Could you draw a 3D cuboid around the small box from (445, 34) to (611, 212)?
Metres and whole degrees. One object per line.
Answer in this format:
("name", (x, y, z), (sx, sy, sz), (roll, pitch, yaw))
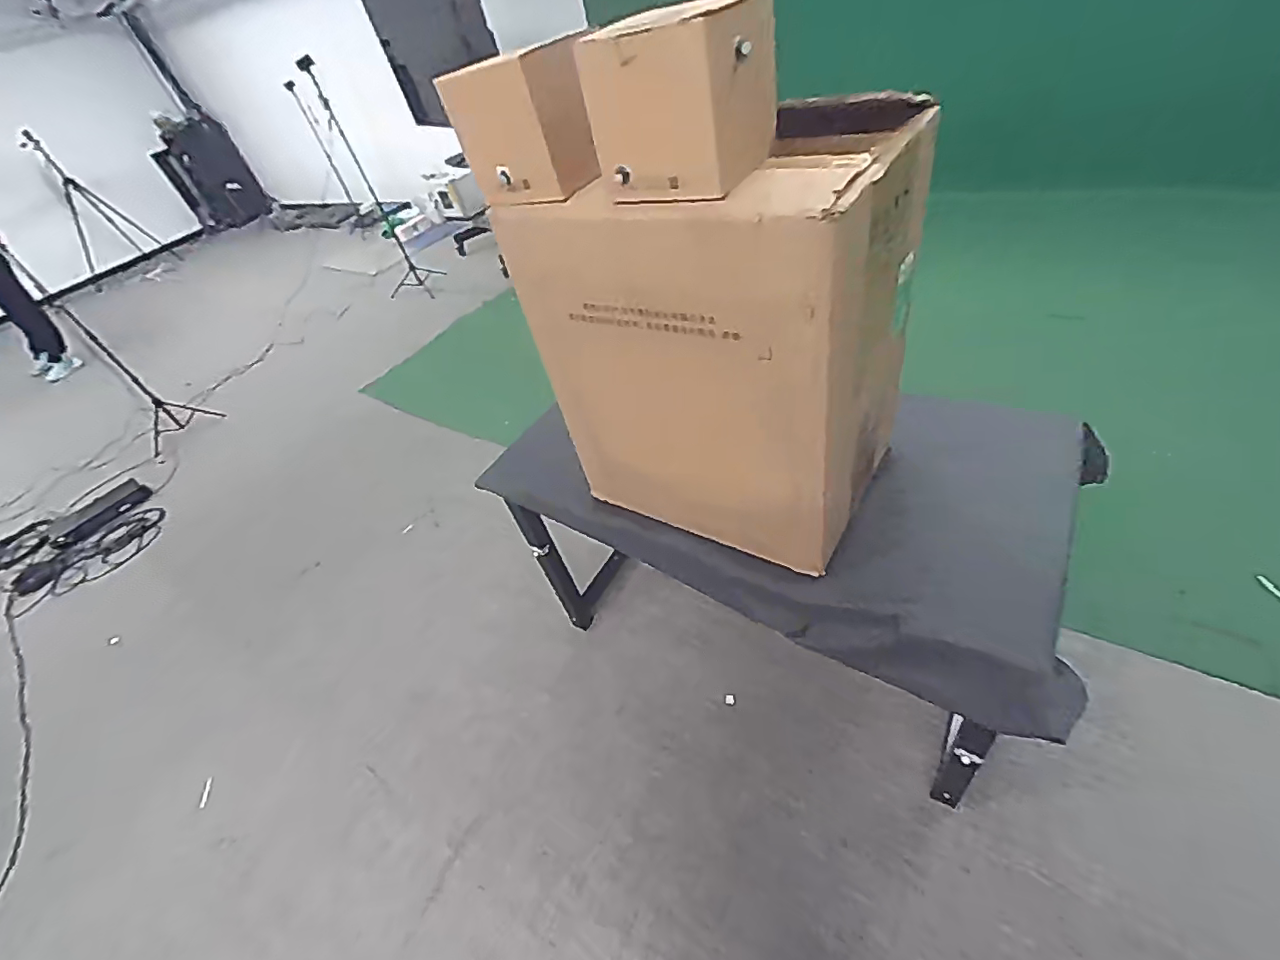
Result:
("small box", (-0.139, -0.513, 0.792), (0.168, 0.176, 0.179), (14, 52, 33))

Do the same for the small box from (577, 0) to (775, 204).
("small box", (0.057, -0.450, 0.655), (0.168, 0.176, 0.179), (16, 51, 30))
